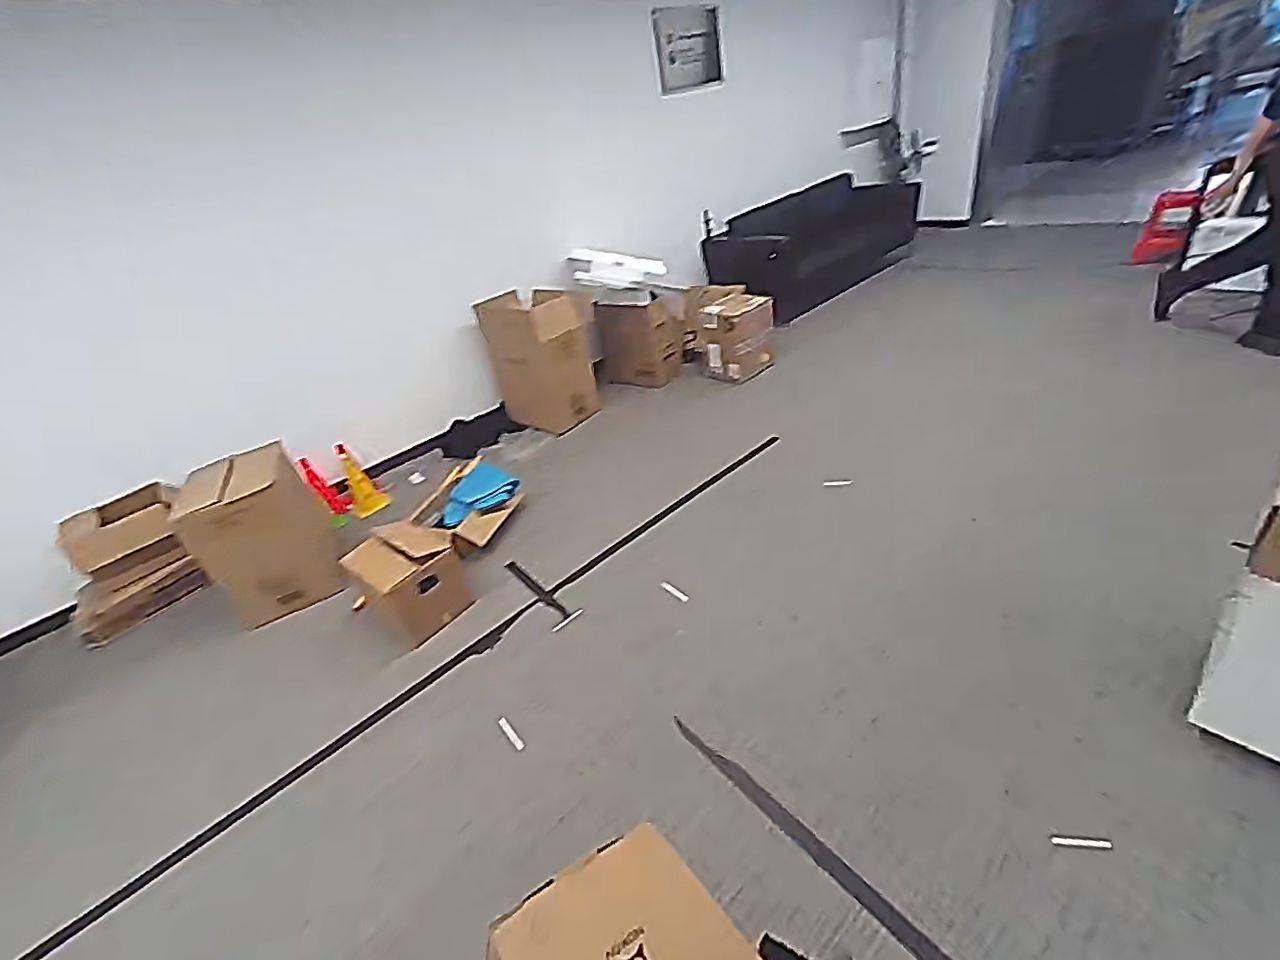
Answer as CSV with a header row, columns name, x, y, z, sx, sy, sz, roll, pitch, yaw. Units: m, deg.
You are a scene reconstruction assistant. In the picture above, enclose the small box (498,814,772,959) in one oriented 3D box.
name,x,y,z,sx,sy,sz,roll,pitch,yaw
small box,-0.008,0.432,0.436,0.168,0.176,0.179,-10,26,-36
